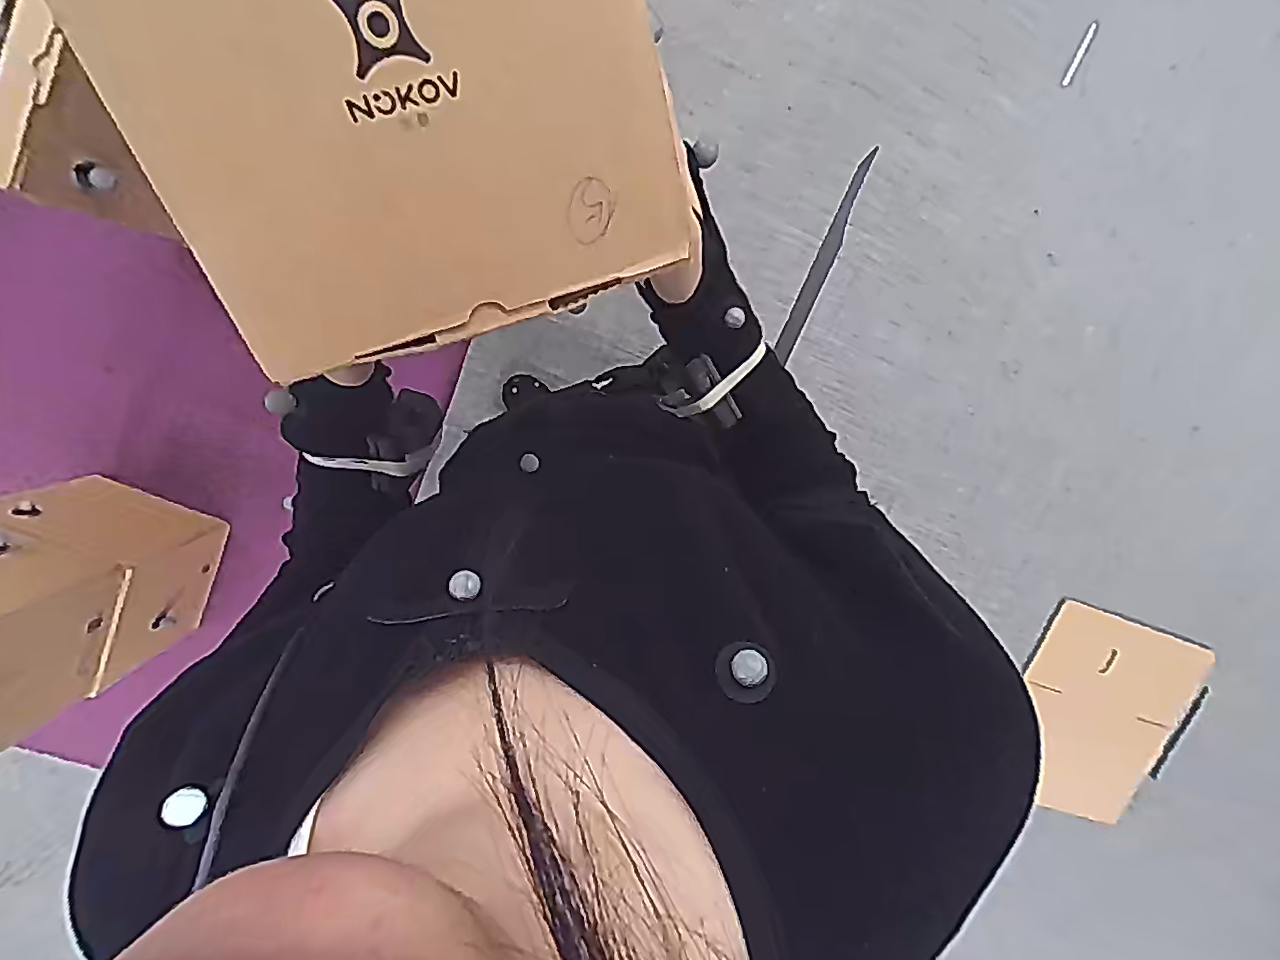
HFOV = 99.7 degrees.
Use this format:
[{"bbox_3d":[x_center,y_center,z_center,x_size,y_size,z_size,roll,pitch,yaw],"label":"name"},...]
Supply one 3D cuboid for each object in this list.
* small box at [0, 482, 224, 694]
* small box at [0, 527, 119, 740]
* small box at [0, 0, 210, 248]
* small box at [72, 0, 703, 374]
[{"bbox_3d":[-0.652,0.115,0.645,0.179,0.176,0.168,23,99,-9],"label":"small box"},{"bbox_3d":[-0.644,0.146,0.484,0.179,0.176,0.168,22,99,-8],"label":"small box"},{"bbox_3d":[-0.472,-0.347,0.563,0.179,0.176,0.168,27,99,-10],"label":"small box"},{"bbox_3d":[-0.087,-0.168,0.235,0.168,0.176,0.179,-18,116,-5],"label":"small box"}]
